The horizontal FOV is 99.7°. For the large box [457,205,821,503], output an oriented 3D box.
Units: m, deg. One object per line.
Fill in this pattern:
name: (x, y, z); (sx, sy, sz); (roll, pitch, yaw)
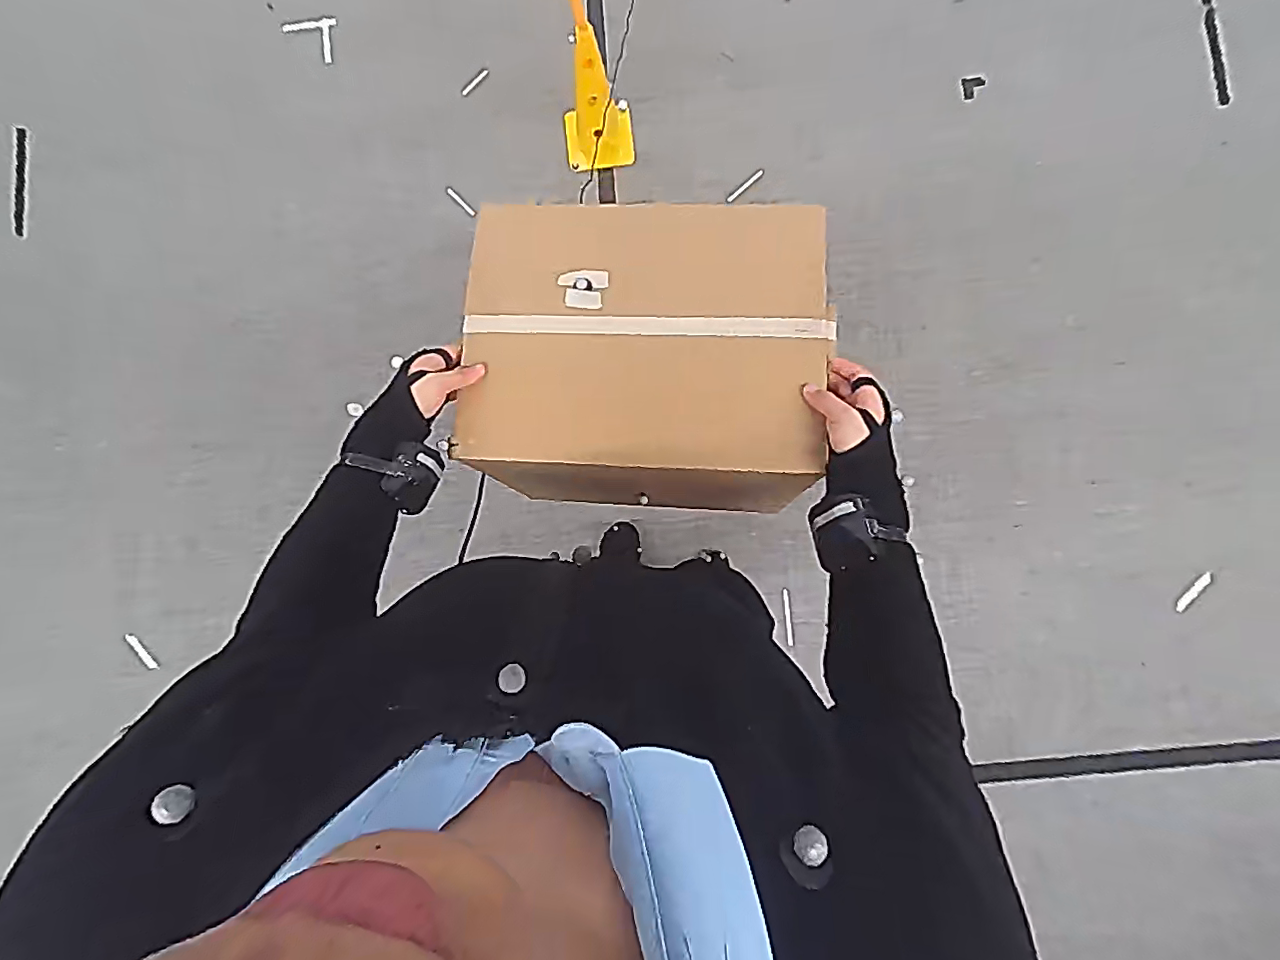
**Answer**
large box: (0.014, -0.141, 0.755); (0.408, 0.320, 0.320); (2, 78, 6)
